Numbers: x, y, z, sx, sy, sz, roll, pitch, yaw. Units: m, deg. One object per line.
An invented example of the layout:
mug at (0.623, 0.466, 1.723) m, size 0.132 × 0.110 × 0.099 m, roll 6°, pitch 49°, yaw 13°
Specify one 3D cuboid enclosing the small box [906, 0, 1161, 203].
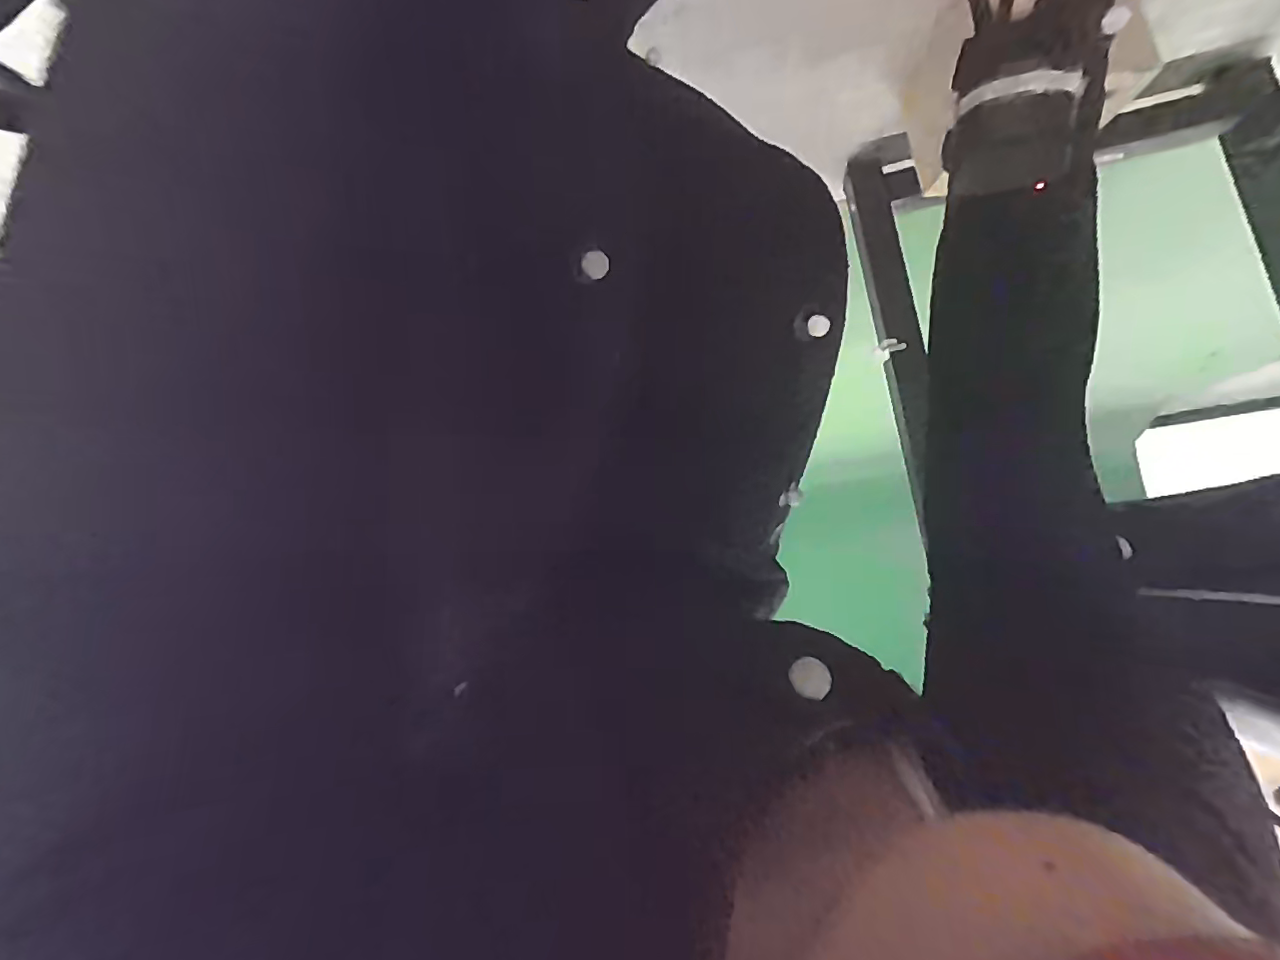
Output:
small box at (0.446, -0.472, 0.649) m, size 0.168 × 0.176 × 0.179 m, roll -7°, pitch 171°, yaw -2°
